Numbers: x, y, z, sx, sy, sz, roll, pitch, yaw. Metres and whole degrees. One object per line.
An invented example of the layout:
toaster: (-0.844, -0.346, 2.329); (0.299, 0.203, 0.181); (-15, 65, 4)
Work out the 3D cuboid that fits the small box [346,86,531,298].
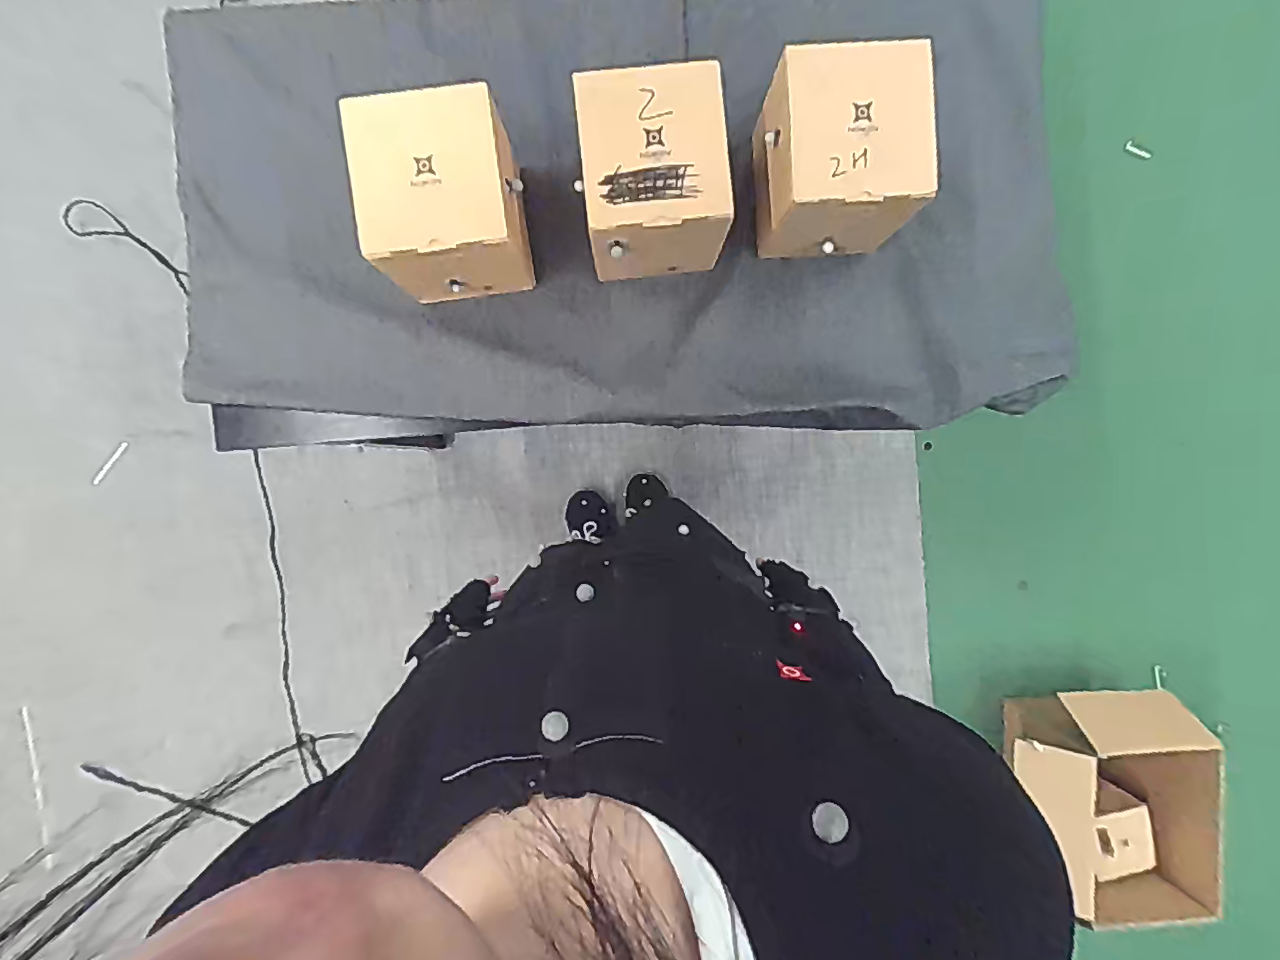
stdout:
small box: (-0.240, -0.351, 0.686); (0.168, 0.176, 0.179); (-8, 92, -2)
